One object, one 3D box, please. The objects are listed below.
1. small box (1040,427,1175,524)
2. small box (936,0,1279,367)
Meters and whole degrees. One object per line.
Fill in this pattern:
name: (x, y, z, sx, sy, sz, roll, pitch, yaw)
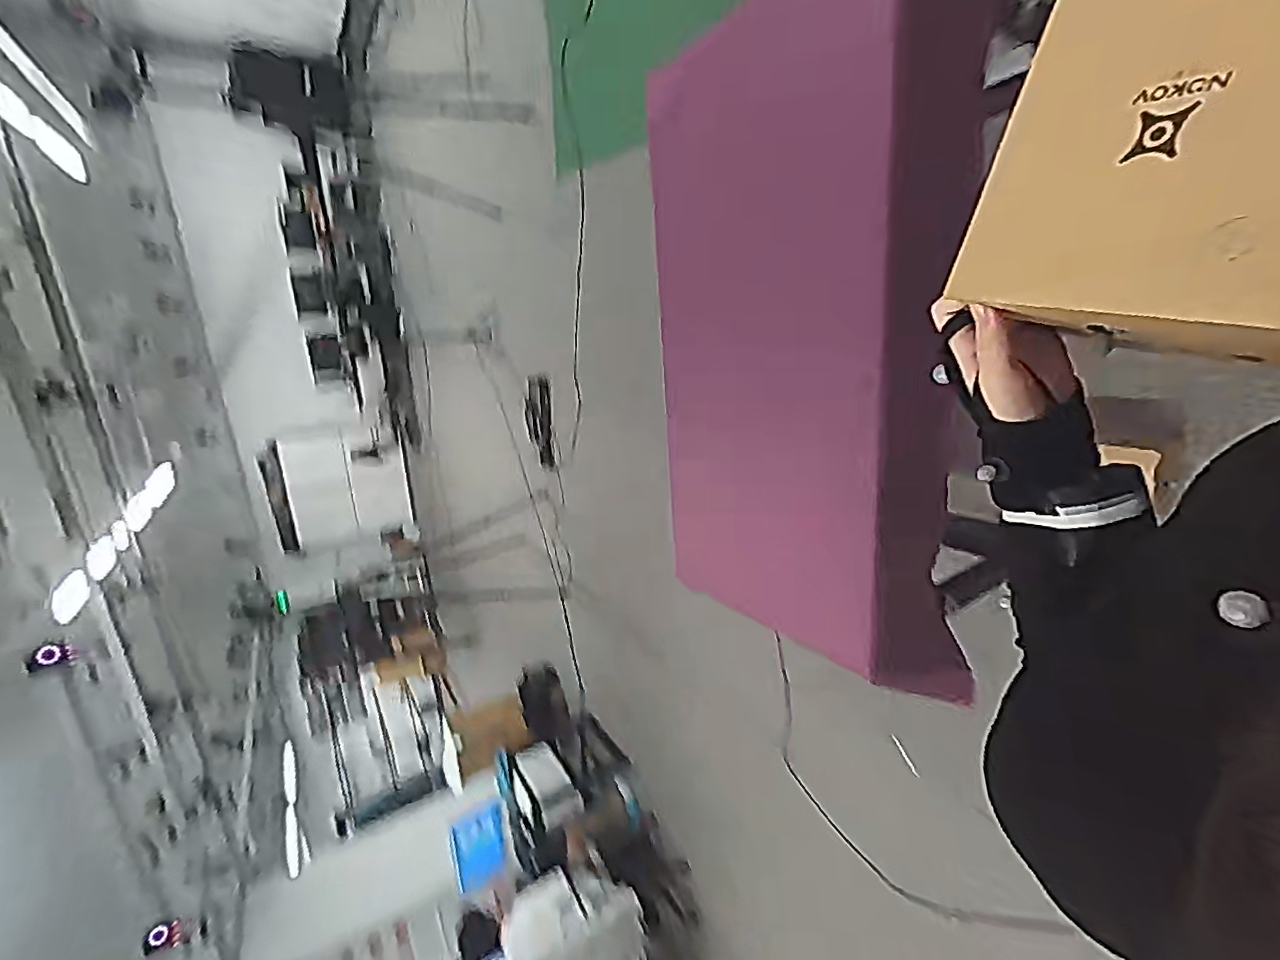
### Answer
small box: (1.018, -0.019, 1.178, 0.179, 0.176, 0.168, 19, 115, 54)
small box: (0.321, -0.171, 0.304, 0.168, 0.176, 0.179, 47, 127, 57)
